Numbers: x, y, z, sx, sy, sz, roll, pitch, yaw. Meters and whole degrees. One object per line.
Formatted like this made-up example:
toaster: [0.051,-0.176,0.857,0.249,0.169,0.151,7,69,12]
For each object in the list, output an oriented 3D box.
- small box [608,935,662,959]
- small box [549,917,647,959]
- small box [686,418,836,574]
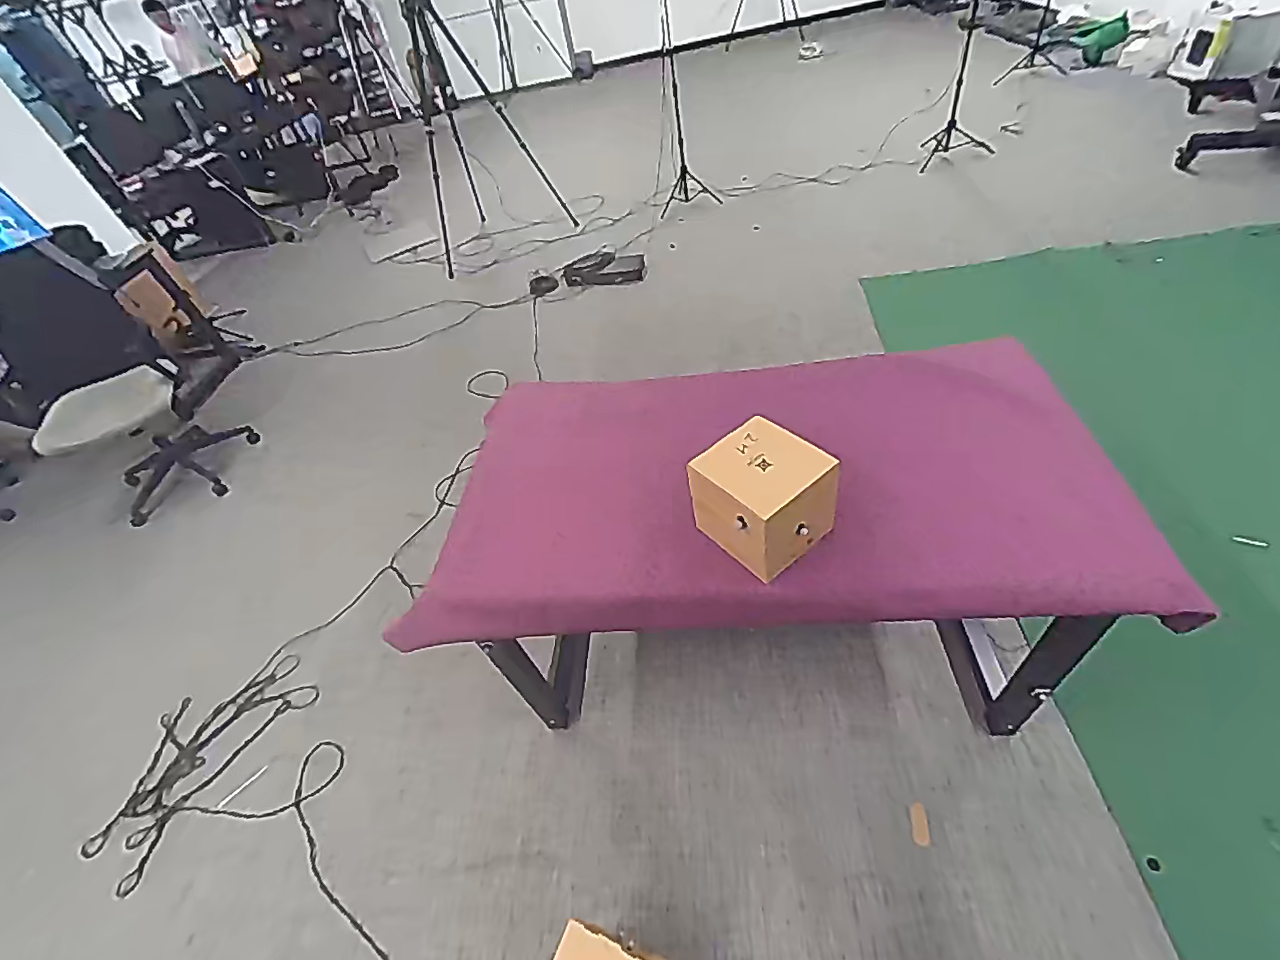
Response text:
small box: [-0.041,1.018,1.051,0.168,0.176,0.179,7,50,20]
small box: [-0.077,0.910,0.937,0.168,0.176,0.179,11,50,24]
small box: [0.201,0.032,0.911,0.168,0.176,0.179,-34,48,-20]
